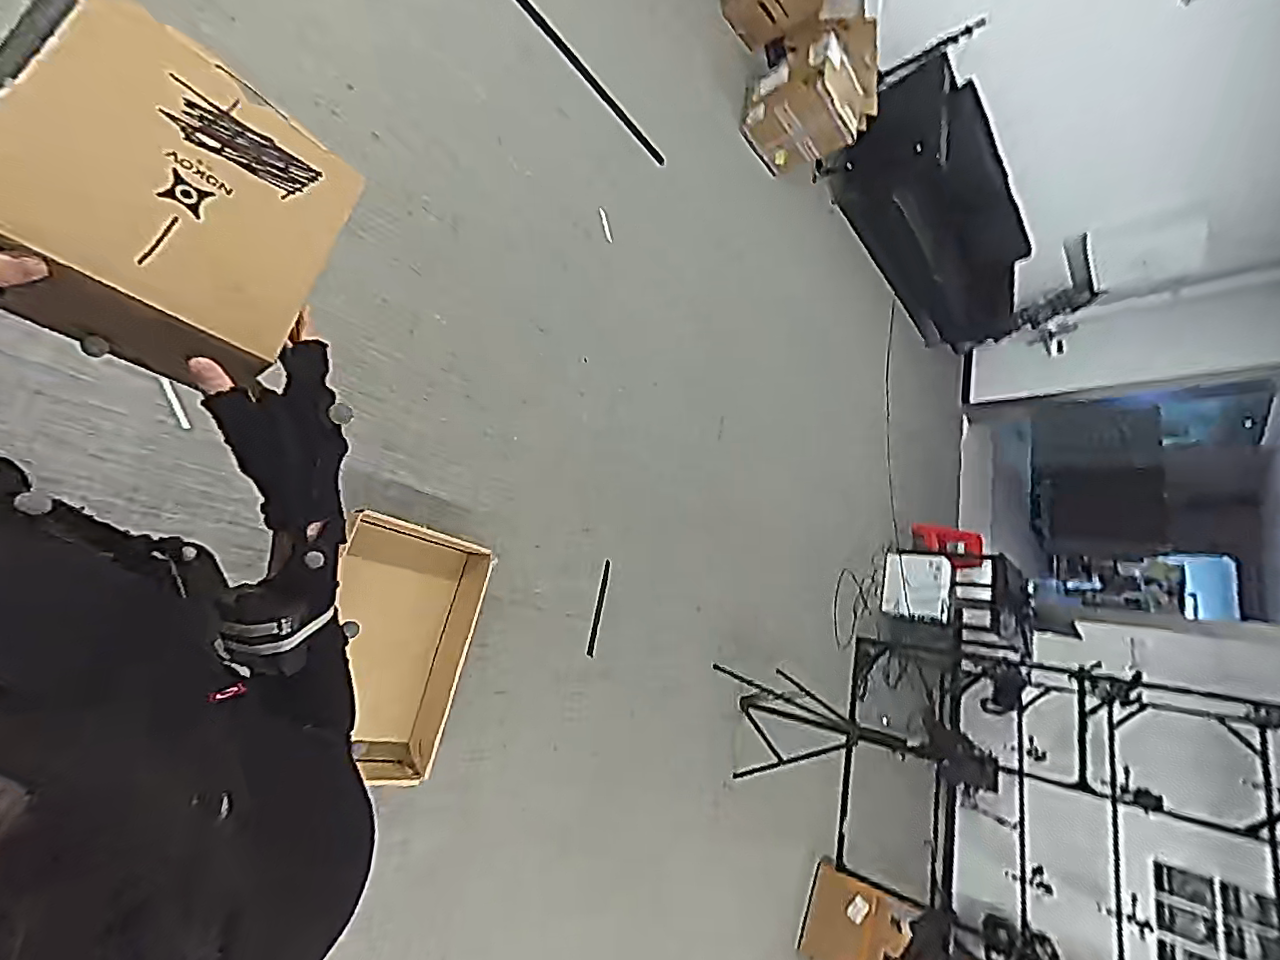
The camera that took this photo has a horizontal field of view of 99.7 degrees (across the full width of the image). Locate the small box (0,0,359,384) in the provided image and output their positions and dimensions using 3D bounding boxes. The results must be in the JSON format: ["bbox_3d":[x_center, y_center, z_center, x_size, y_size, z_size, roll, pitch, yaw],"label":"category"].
[{"bbox_3d":[-0.353,-0.195,0.404,0.168,0.176,0.179,31,64,-42],"label":"small box"}]
